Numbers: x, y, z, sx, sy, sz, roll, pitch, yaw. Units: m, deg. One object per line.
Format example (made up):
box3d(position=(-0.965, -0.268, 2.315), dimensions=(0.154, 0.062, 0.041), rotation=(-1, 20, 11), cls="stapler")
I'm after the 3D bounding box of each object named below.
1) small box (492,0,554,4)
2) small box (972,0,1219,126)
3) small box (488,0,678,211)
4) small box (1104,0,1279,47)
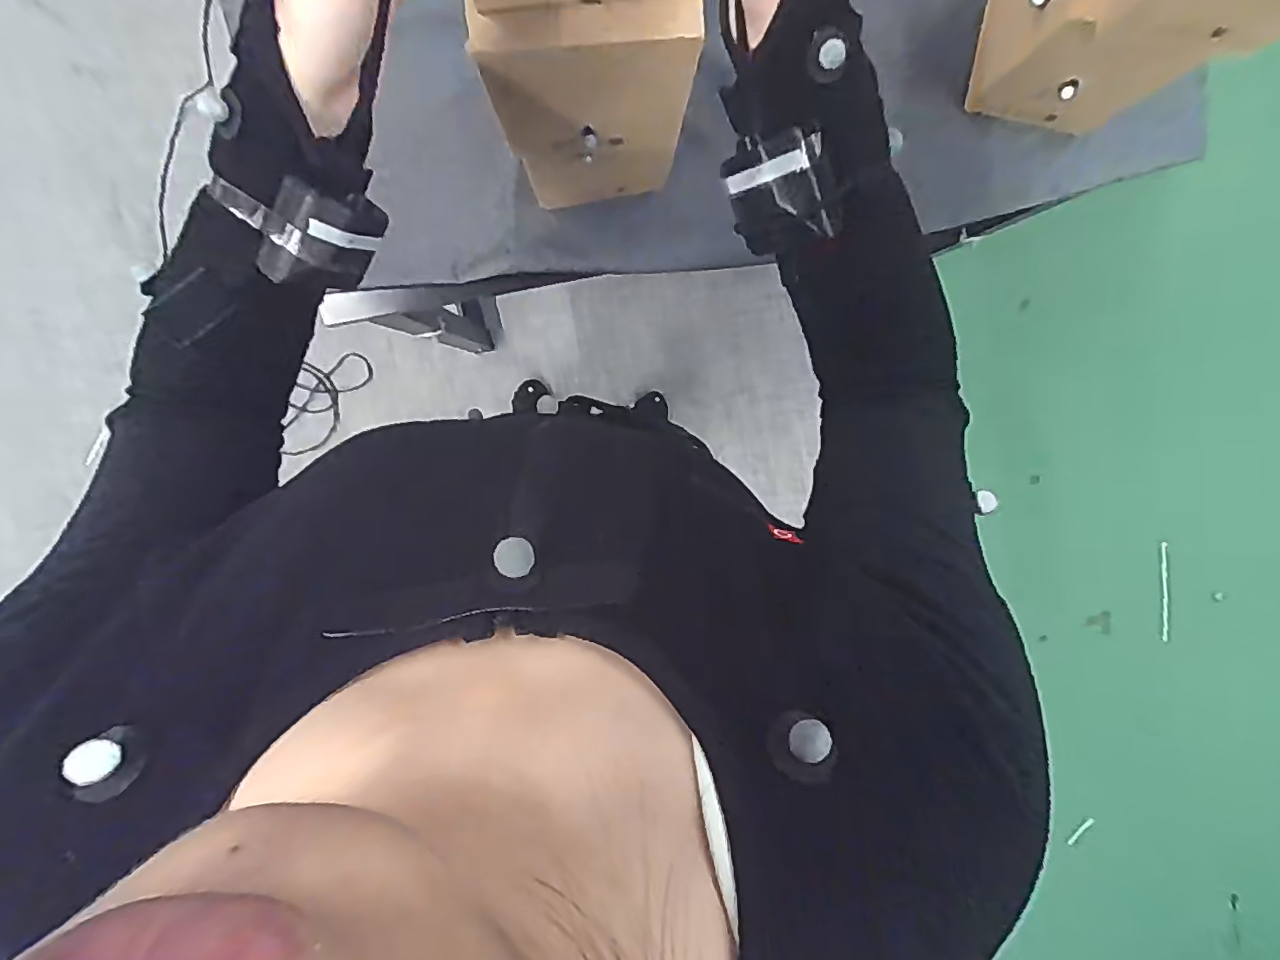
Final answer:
box3d(position=(-0.041, -0.383, 0.268), dimensions=(0.168, 0.176, 0.179), rotation=(-8, 101, -1), cls="small box")
box3d(position=(0.512, -0.538, 0.605), dimensions=(0.168, 0.176, 0.179), rotation=(9, 96, -4), cls="small box")
box3d(position=(-0.061, -0.430, 0.600), dimensions=(0.168, 0.176, 0.179), rotation=(-11, 98, -1), cls="small box")
box3d(position=(0.540, -0.508, 0.447), dimensions=(0.168, 0.176, 0.179), rotation=(4, 96, -4), cls="small box")
